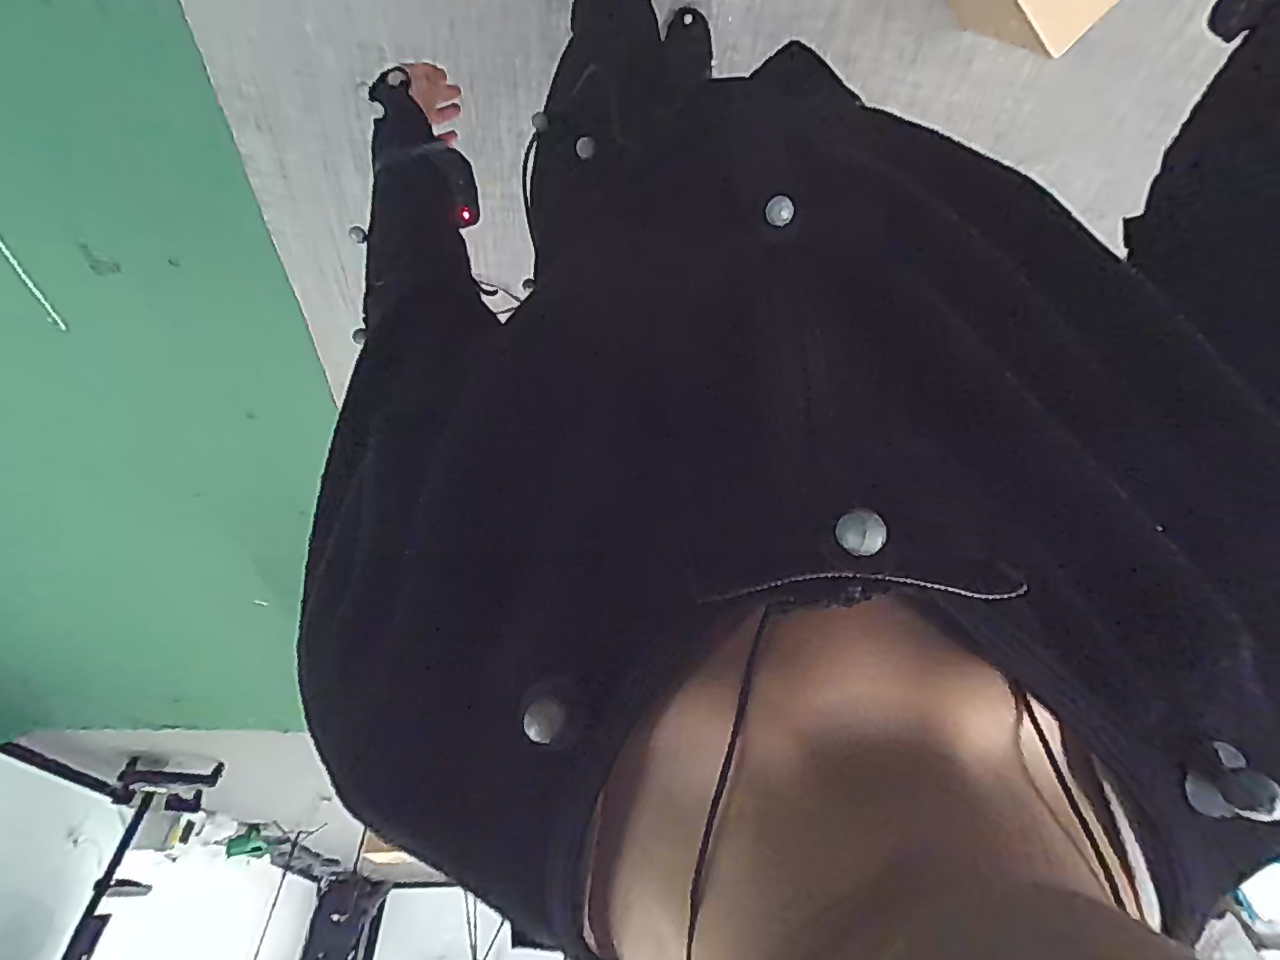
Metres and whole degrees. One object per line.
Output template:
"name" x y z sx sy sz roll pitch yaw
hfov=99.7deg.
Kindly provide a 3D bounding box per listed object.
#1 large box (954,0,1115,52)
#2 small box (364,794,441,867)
"large box" 0.591 -0.949 0.790 0.408 0.320 0.320 25 131 -28
"small box" -0.738 1.103 1.700 0.168 0.176 0.179 0 137 -5
